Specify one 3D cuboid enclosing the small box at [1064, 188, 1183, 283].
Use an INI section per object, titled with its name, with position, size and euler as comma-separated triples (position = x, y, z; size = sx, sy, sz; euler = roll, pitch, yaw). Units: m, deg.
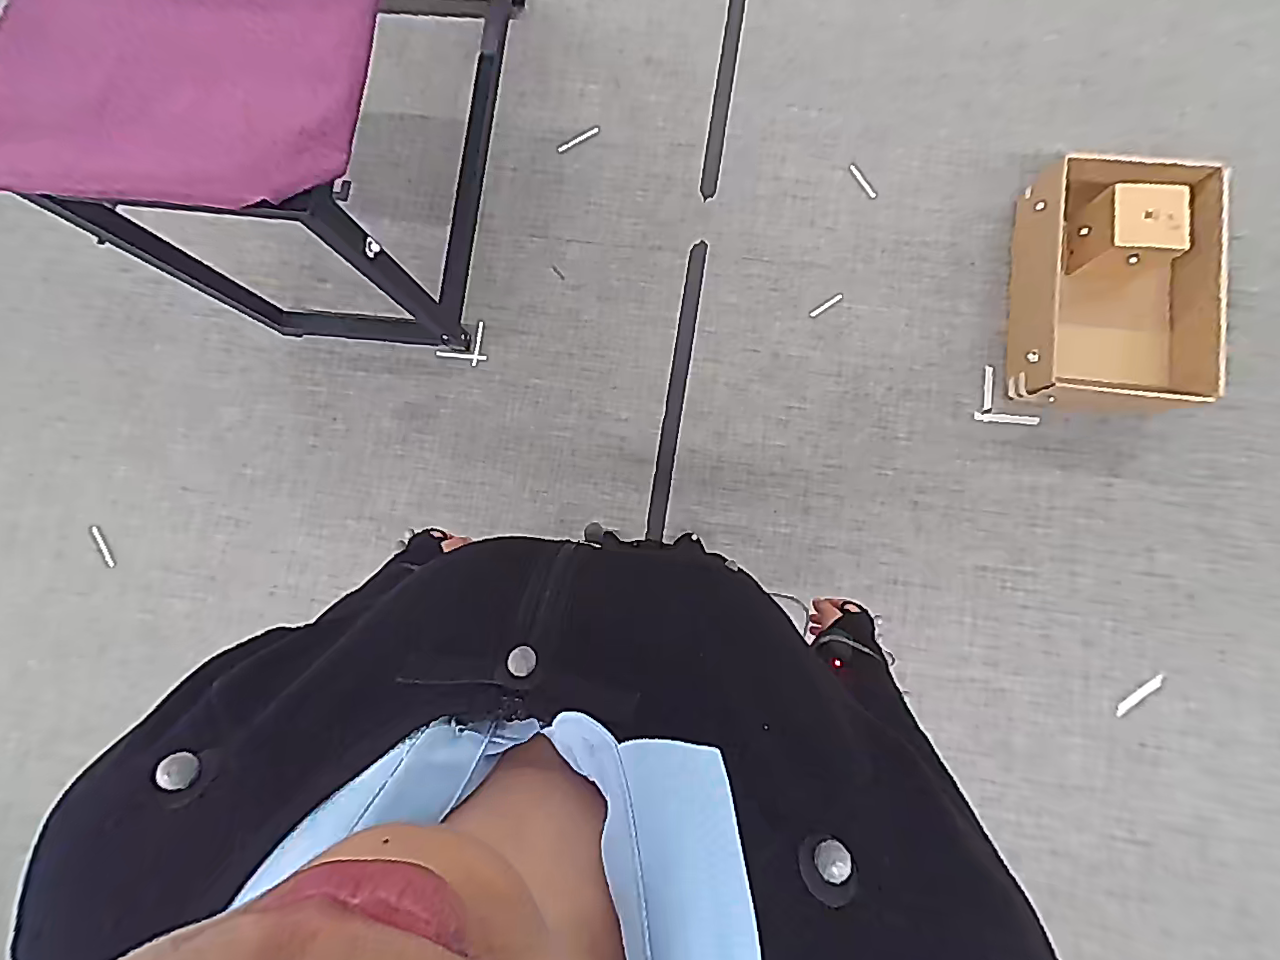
[small box]
position = 1.251, -0.630, 1.410
size = 0.179, 0.176, 0.168
euler = 5, 85, 3
